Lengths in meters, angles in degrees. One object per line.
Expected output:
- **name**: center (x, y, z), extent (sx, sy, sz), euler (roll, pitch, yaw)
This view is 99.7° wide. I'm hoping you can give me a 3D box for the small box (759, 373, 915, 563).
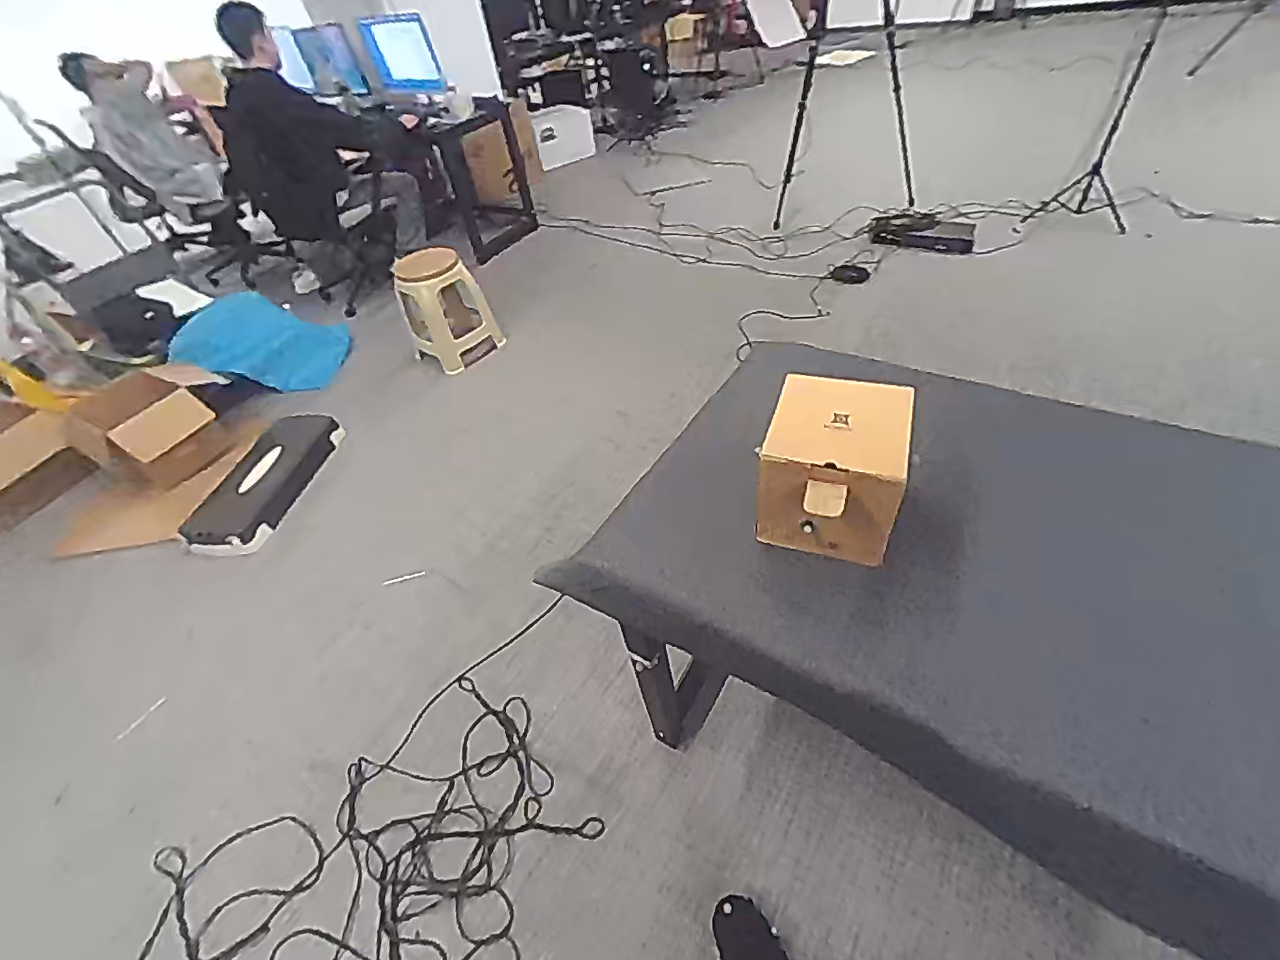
- **small box**: center (0.261, -0.018, 0.736), extent (0.168, 0.176, 0.179), euler (11, 49, 19)
